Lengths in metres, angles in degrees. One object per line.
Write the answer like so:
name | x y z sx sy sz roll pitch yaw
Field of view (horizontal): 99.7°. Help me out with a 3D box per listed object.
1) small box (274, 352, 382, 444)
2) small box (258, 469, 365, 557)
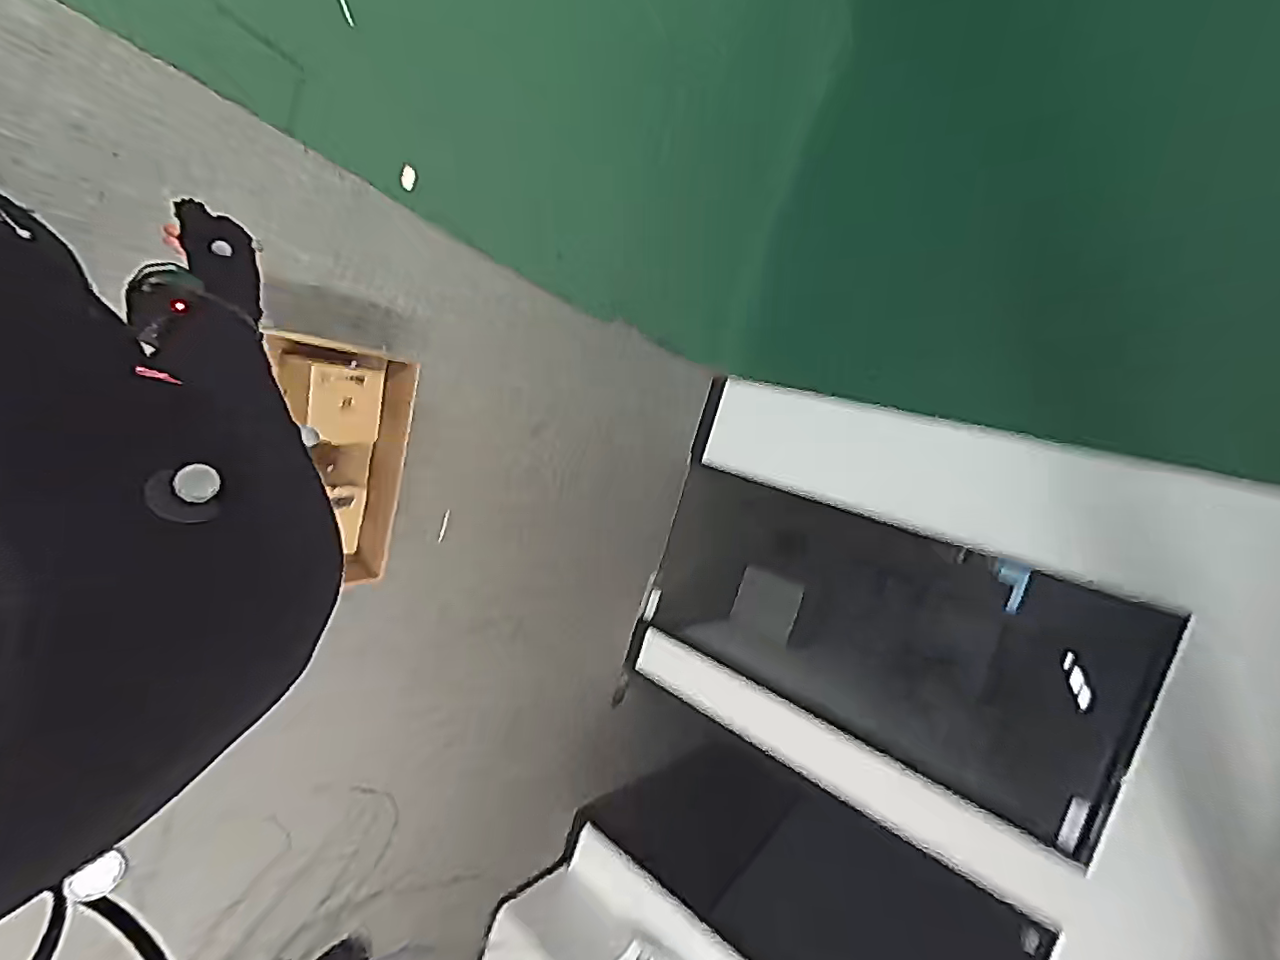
small box | -0.749 -0.194 1.295 0.168 0.176 0.179 -4 111 -55
small box | -0.817 0.076 1.340 0.168 0.176 0.179 3 104 -55
